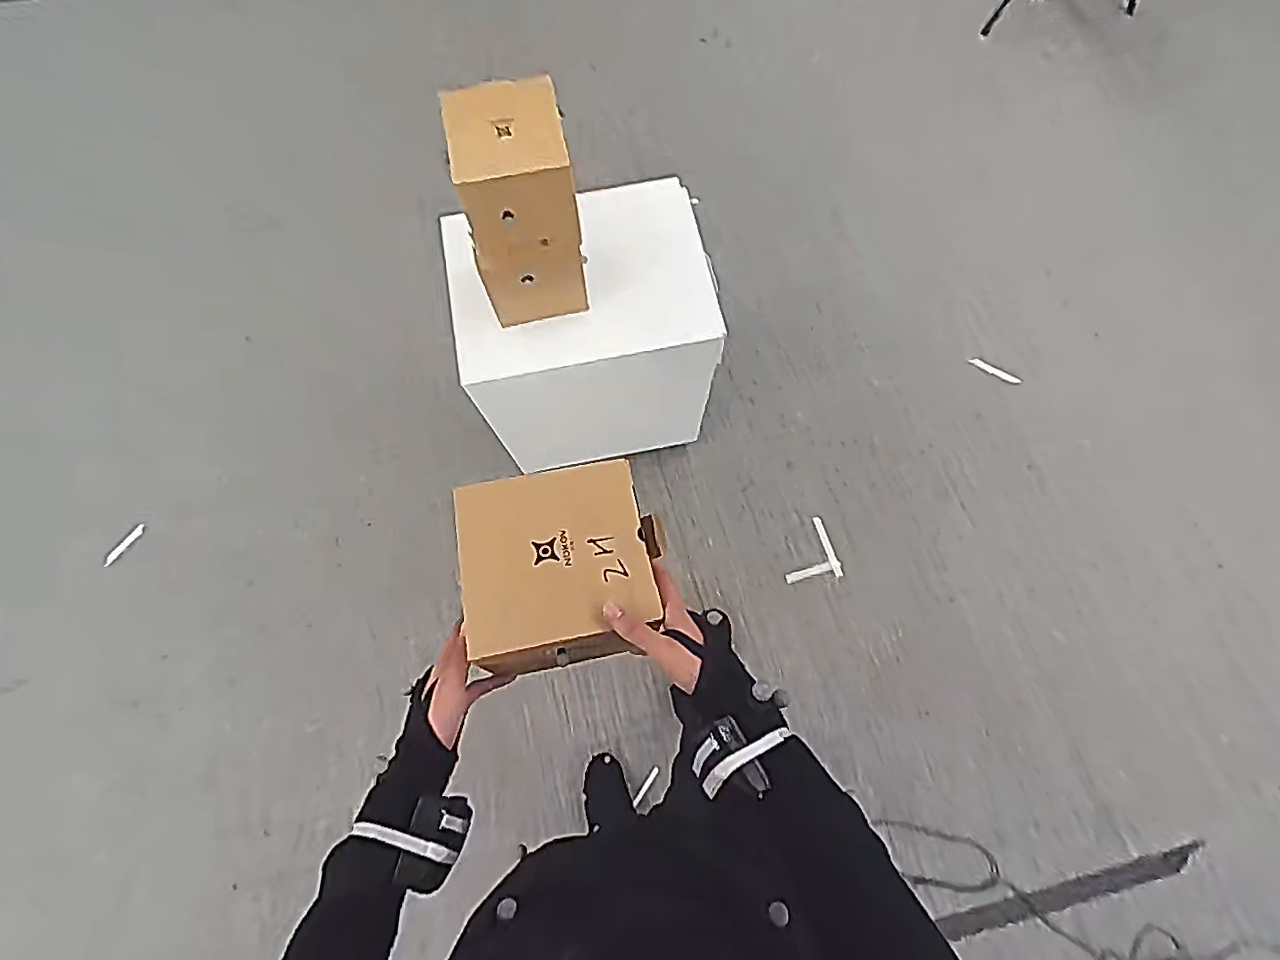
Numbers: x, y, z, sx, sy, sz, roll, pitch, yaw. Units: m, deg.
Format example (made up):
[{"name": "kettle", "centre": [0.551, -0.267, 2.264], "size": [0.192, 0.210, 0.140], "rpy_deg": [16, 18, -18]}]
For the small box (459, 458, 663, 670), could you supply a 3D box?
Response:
[{"name": "small box", "centre": [-0.082, 0.098, 0.582], "size": [0.179, 0.176, 0.168], "rpy_deg": [-10, 66, -9]}]

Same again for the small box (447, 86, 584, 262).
[{"name": "small box", "centre": [-0.188, -0.468, 0.853], "size": [0.168, 0.176, 0.179], "rpy_deg": [-12, 72, -4]}]

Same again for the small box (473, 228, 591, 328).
[{"name": "small box", "centre": [-0.197, -0.405, 1.004], "size": [0.179, 0.176, 0.168], "rpy_deg": [-12, 73, -5]}]
